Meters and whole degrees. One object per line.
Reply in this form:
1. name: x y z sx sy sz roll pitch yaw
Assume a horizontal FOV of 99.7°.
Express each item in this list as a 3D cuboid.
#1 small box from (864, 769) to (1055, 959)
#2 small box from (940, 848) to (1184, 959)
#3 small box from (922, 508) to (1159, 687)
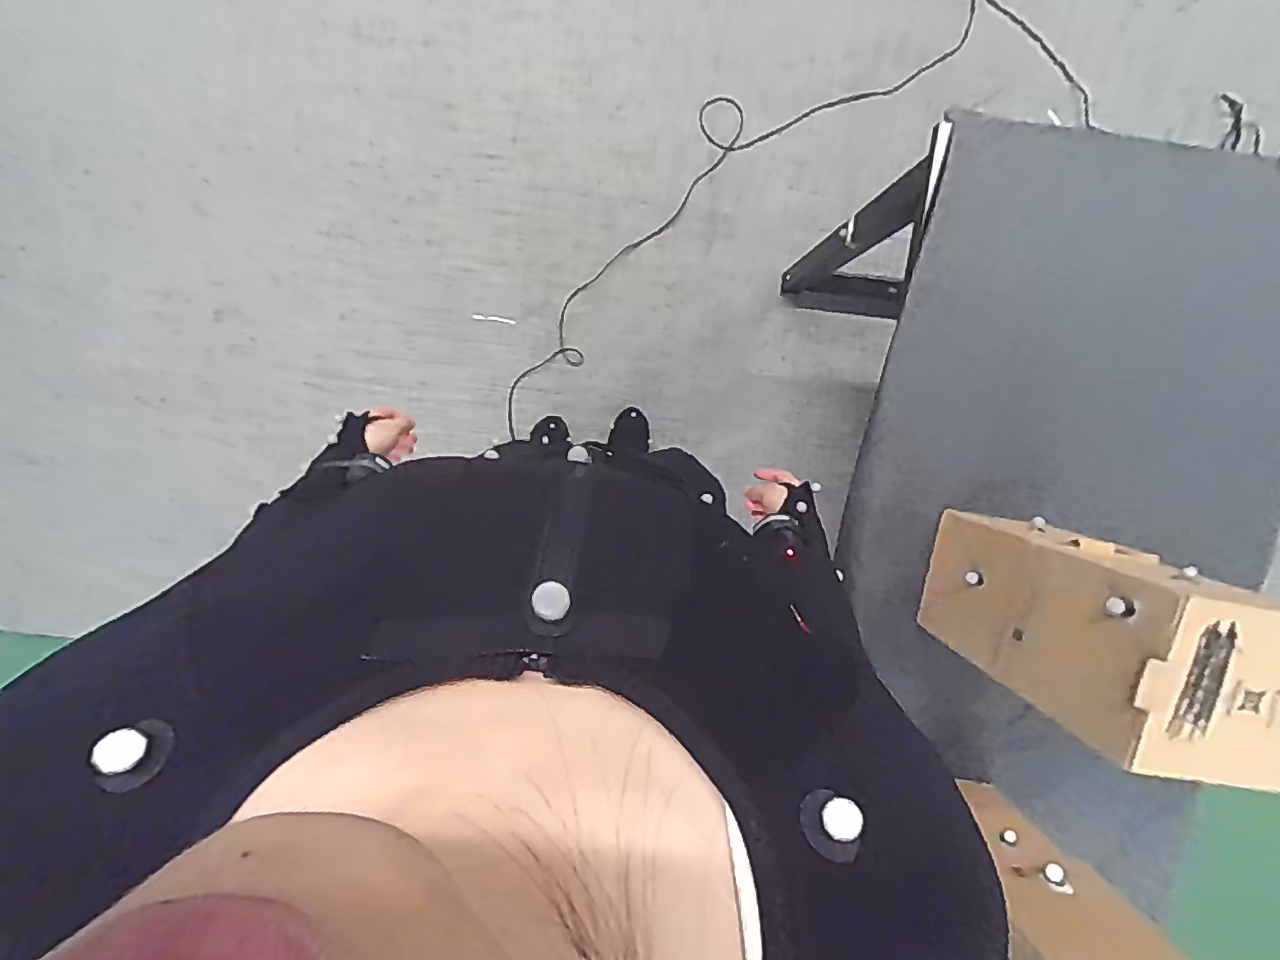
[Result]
1. small box: 0.450 0.538 0.756 0.179 0.176 0.168 12 97 -5
2. small box: 0.464 0.550 0.594 0.168 0.176 0.179 4 96 -6
3. small box: 0.501 0.140 0.705 0.168 0.176 0.179 8 97 -5
